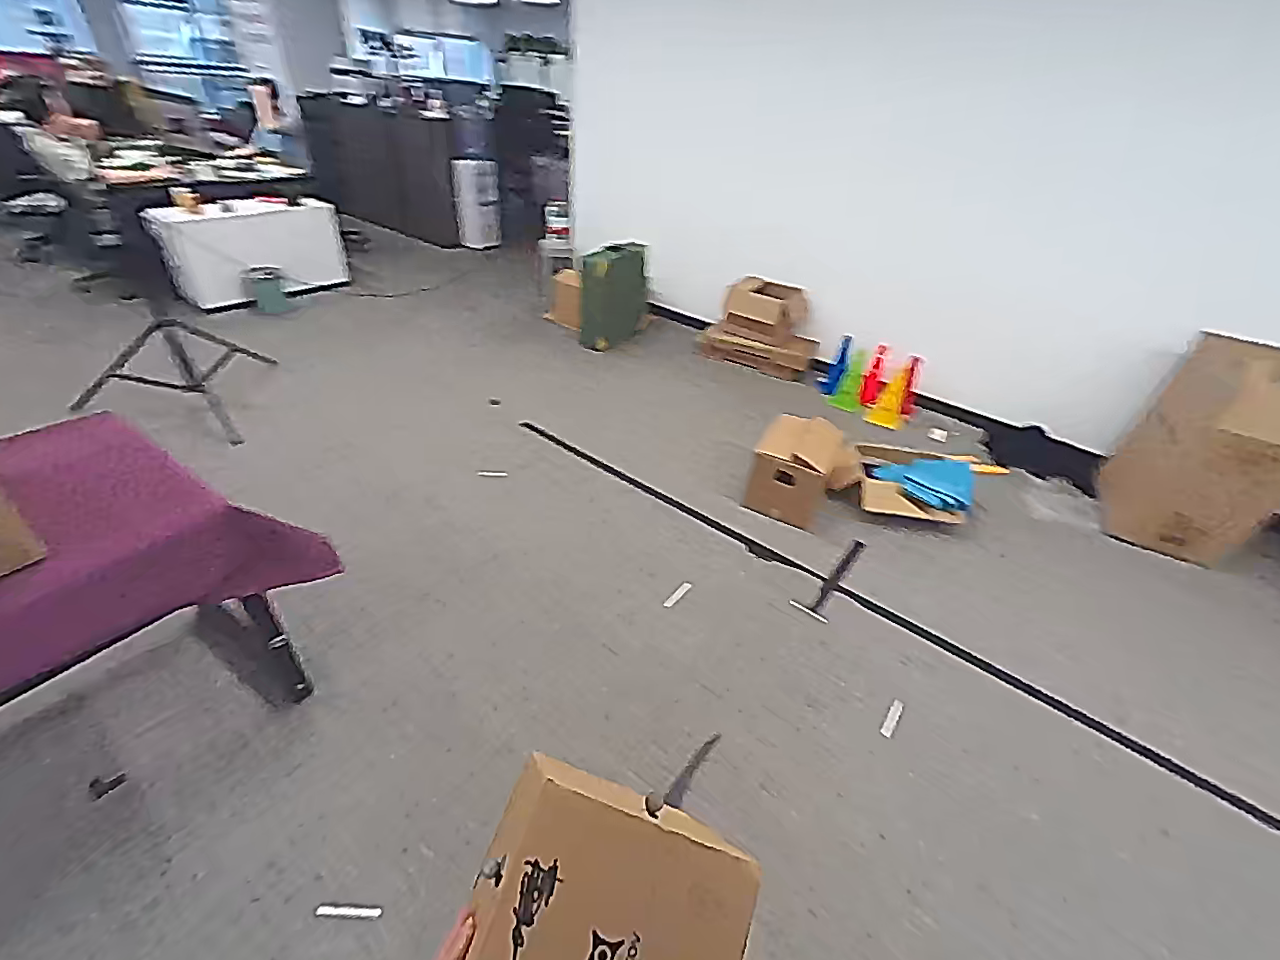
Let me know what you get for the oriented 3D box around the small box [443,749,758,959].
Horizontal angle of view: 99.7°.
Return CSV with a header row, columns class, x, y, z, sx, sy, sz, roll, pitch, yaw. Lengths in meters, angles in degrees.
class,x,y,z,sx,sy,sz,roll,pitch,yaw
small box,-0.039,0.330,0.427,0.179,0.176,0.168,25,65,-6
